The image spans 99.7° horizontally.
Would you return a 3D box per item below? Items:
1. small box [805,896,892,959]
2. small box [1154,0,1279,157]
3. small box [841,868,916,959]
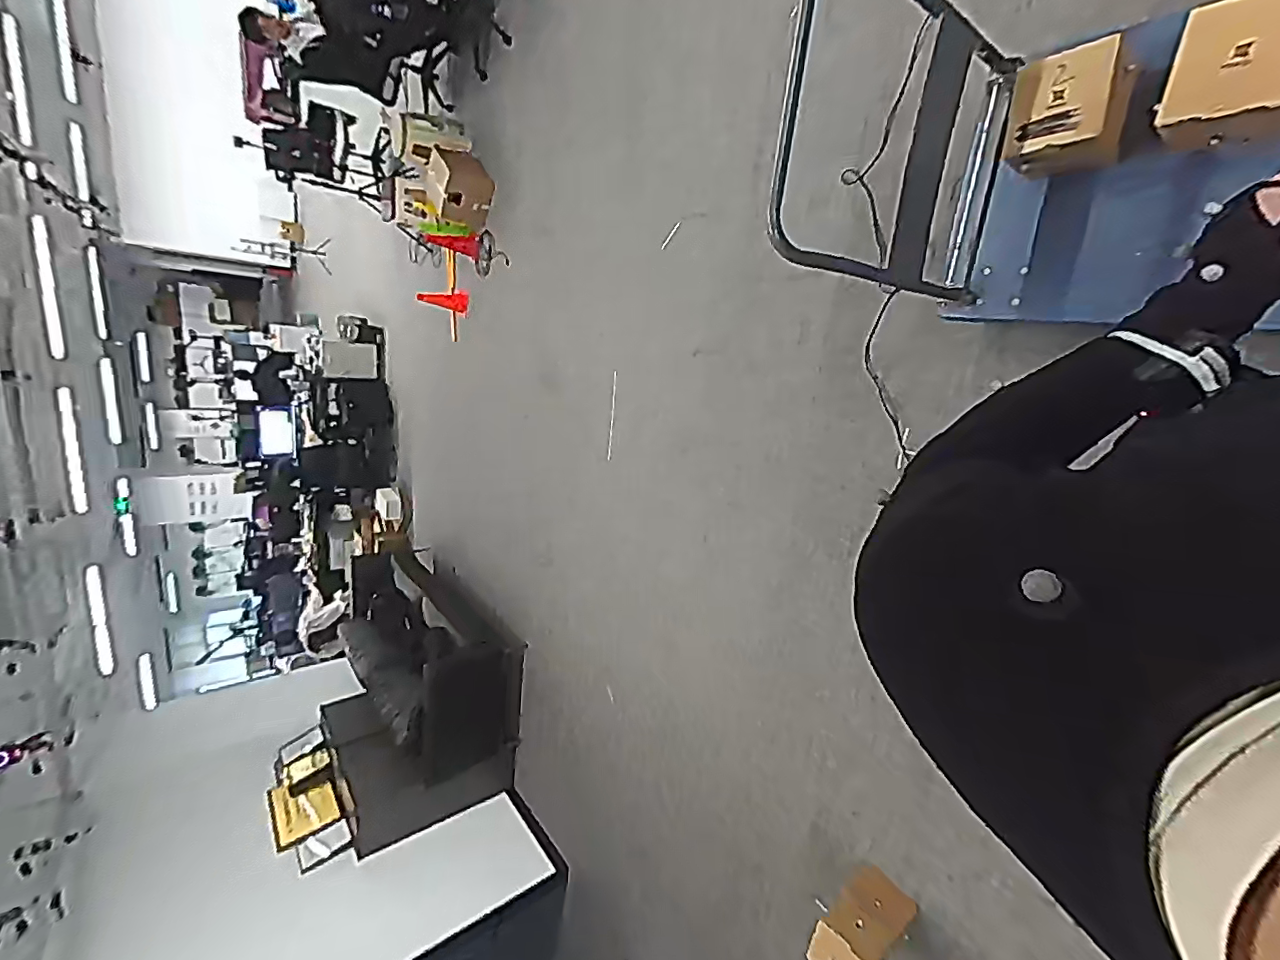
[{"bbox_3d":[0.645,1.442,1.662,0.168,0.176,0.179,28,113,46],"label":"small box"},{"bbox_3d":[1.034,-0.687,0.930,0.168,0.176,0.179,23,113,47],"label":"small box"},{"bbox_3d":[0.767,1.435,1.770,0.179,0.176,0.168,29,115,46],"label":"small box"}]
